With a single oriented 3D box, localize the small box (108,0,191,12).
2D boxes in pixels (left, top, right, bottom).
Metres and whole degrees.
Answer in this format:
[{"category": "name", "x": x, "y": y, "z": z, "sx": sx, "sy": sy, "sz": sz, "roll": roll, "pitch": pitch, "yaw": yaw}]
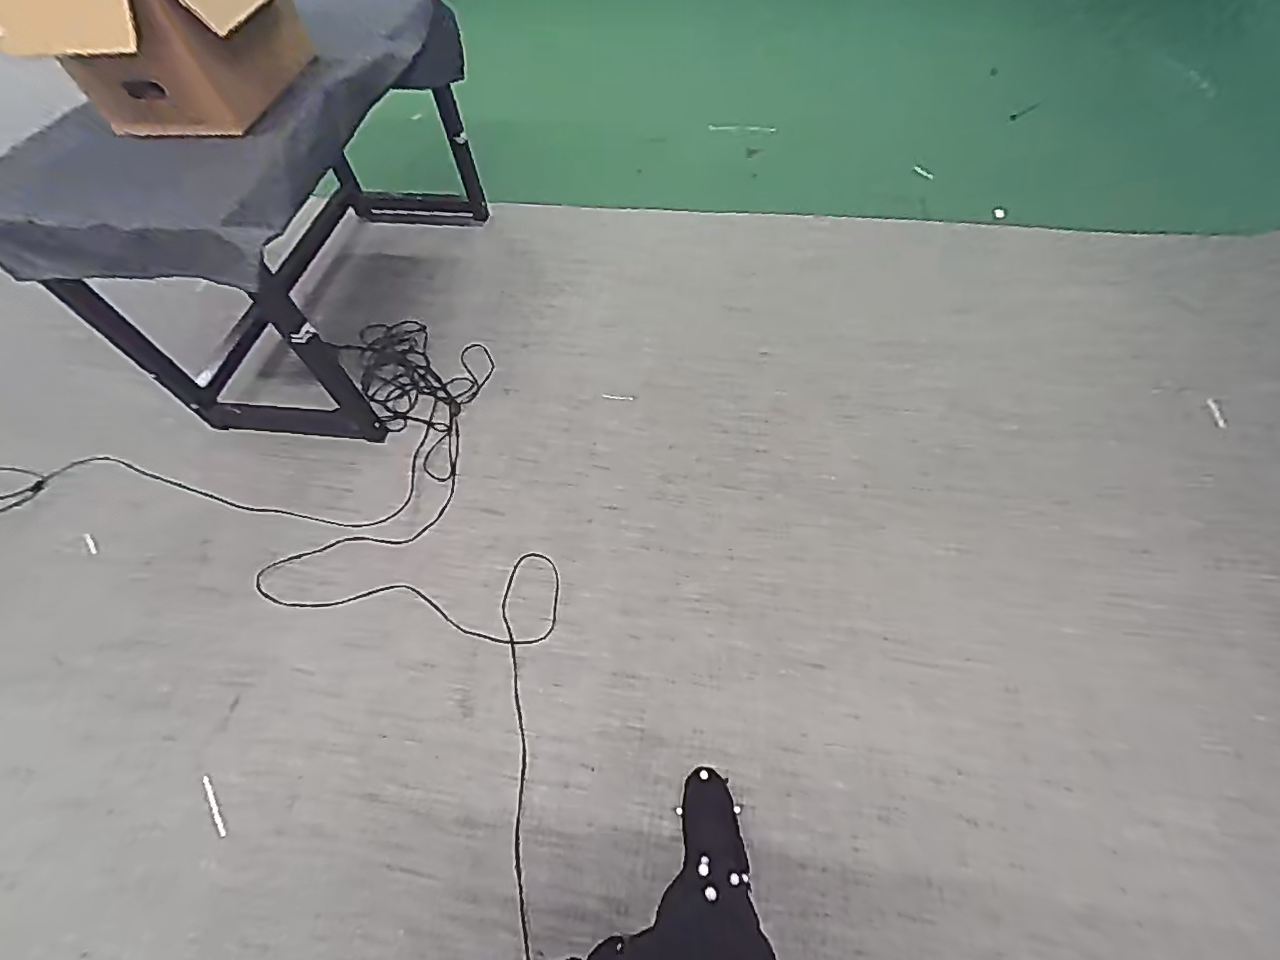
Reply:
[{"category": "small box", "x": -1.012, "y": -1.080, "z": 1.085, "sx": 0.168, "sy": 0.176, "sz": 0.179, "roll": 4, "pitch": 59, "yaw": 6}]
